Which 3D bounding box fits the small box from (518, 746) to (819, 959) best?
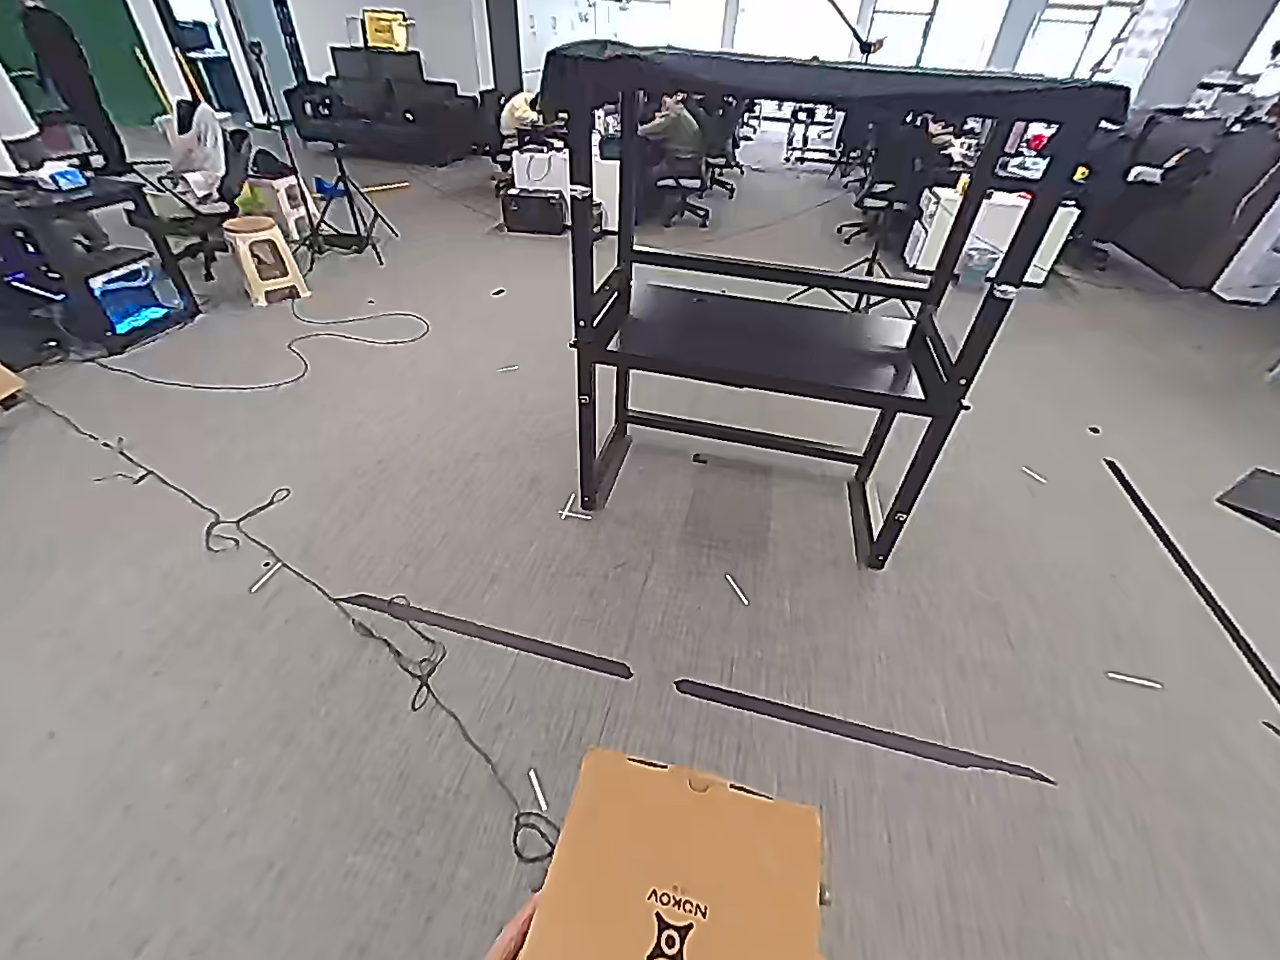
[{"bbox_3d":[0.020,0.321,0.368,0.168,0.176,0.179,9,42,11],"label":"small box"}]
